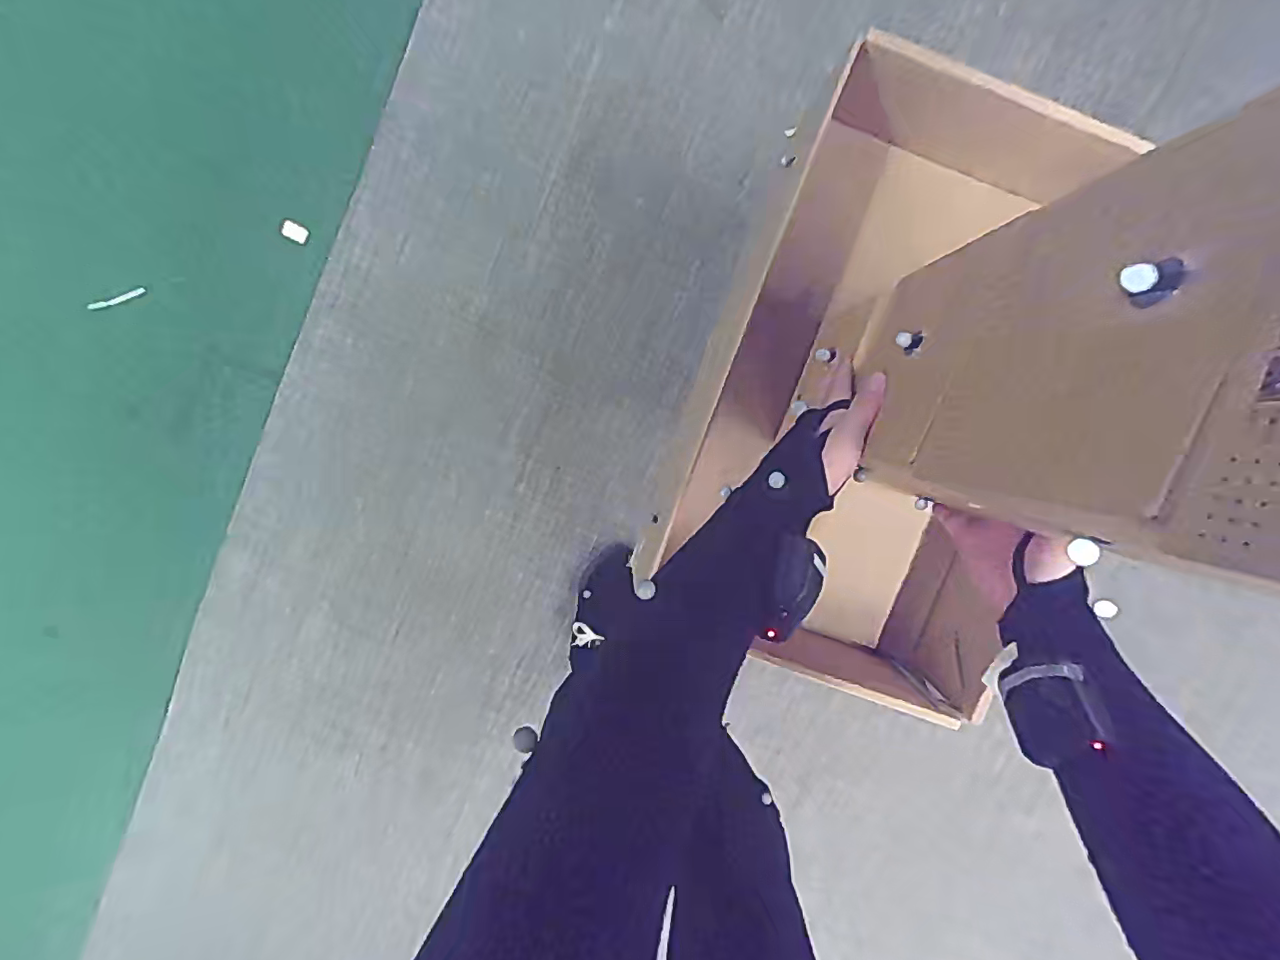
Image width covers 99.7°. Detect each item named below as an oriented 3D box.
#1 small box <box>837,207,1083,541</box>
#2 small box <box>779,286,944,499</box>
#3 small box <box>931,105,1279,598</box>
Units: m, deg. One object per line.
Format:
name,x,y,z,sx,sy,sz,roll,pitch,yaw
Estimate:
small box,0.281,-0.070,0.428,0.168,0.176,0.179,22,95,-4
small box,0.275,-0.084,0.591,0.179,0.176,0.168,20,95,-3
small box,0.283,-0.049,0.264,0.168,0.176,0.179,20,96,-3
